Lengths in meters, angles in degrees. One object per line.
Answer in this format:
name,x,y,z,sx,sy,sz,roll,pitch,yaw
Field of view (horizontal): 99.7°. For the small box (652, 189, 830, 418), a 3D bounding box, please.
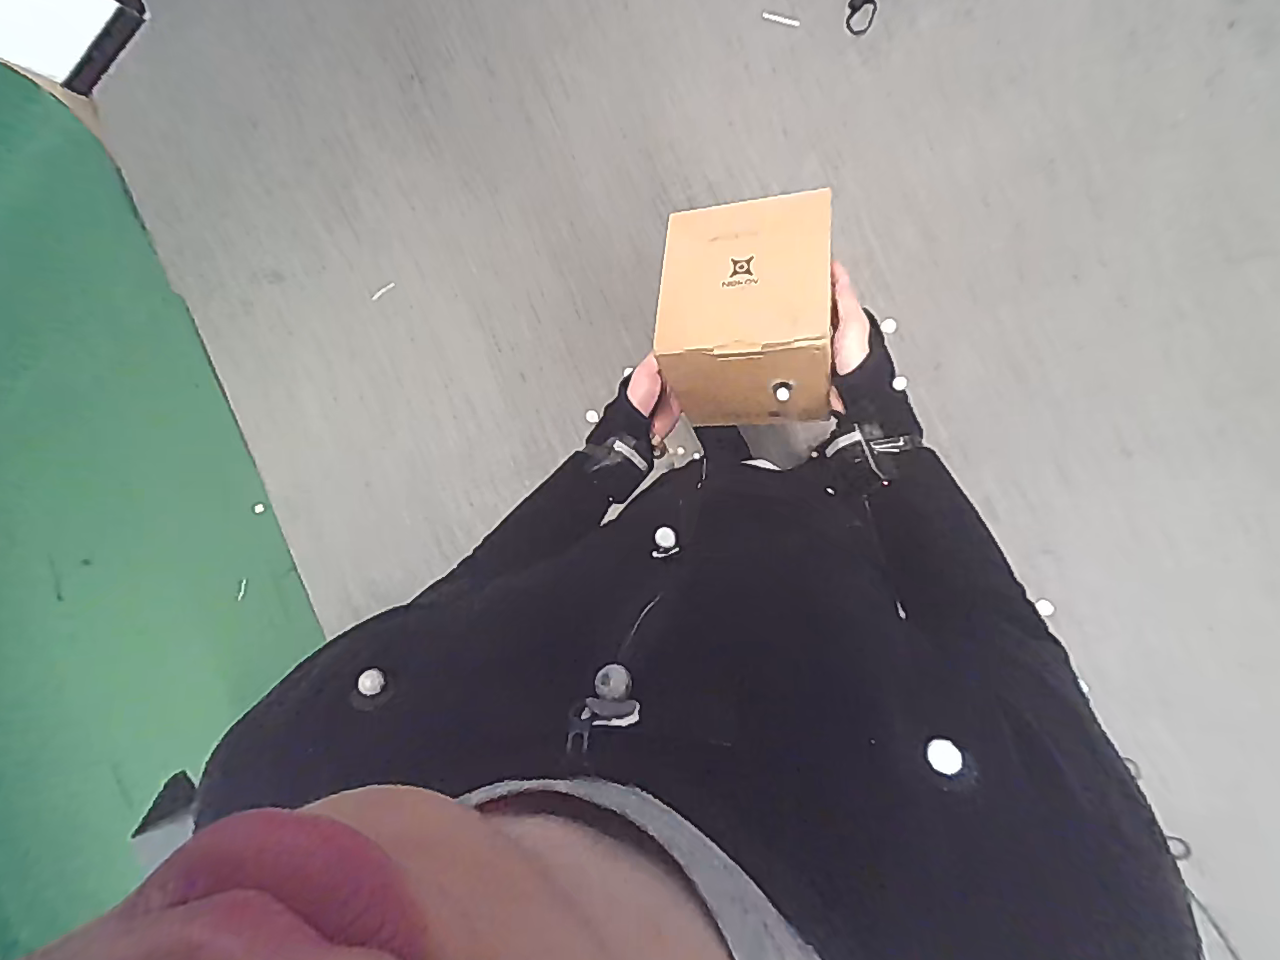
small box,0.122,-0.177,0.597,0.168,0.176,0.179,1,69,18
